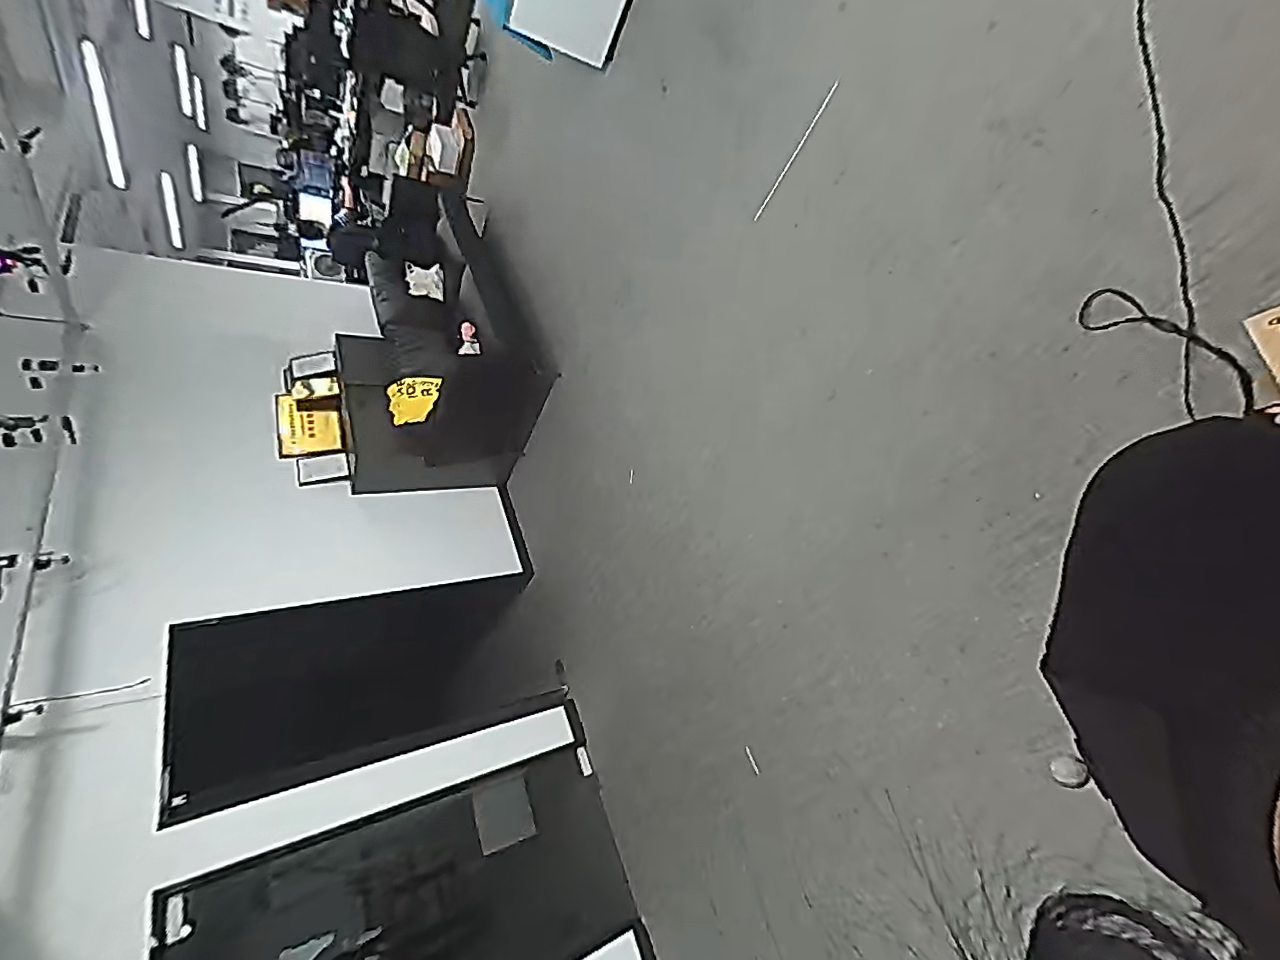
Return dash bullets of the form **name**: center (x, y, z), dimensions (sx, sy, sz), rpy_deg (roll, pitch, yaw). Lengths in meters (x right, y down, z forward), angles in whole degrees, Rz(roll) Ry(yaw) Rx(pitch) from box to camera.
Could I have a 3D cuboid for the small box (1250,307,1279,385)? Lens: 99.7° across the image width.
- **small box**: center (0.807, -0.107, 0.566), dimensions (0.168, 0.176, 0.179), rpy_deg (-27, 45, 47)
